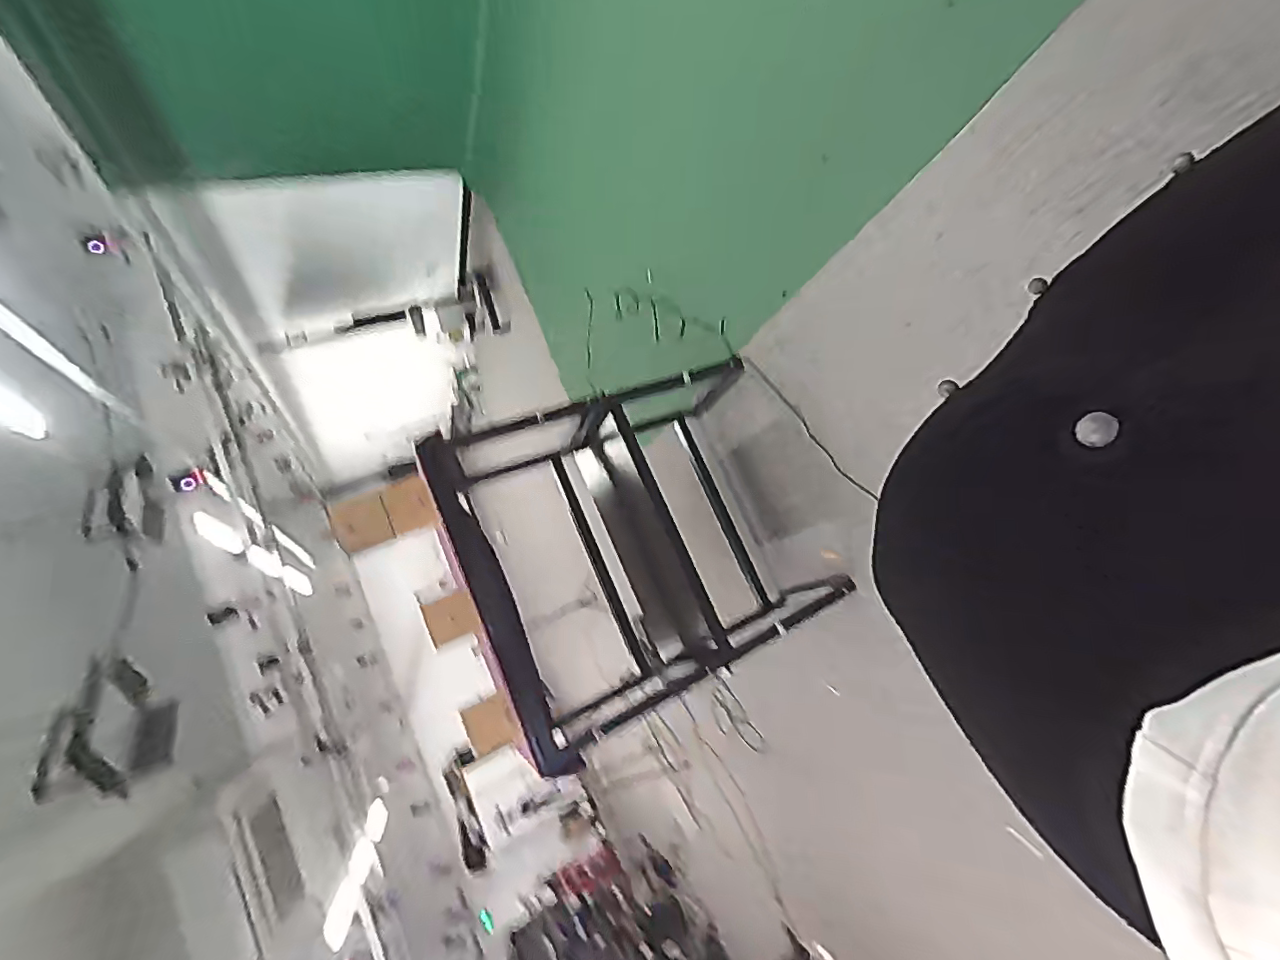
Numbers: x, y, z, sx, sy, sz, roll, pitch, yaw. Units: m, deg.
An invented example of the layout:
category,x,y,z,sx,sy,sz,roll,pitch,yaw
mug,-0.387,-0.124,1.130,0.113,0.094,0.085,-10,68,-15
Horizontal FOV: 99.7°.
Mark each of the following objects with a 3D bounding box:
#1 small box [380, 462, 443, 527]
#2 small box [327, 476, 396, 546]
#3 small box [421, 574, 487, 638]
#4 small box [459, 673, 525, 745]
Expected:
category,x,y,z,sx,sy,sz,roll,pitch,yaw
small box,-0.830,0.053,1.973,0.168,0.176,0.179,66,154,8
small box,-0.965,0.108,1.896,0.179,0.176,0.168,66,154,8
small box,-0.654,0.440,1.900,0.179,0.176,0.168,66,156,7
small box,-0.502,0.770,1.834,0.168,0.176,0.179,65,156,10
